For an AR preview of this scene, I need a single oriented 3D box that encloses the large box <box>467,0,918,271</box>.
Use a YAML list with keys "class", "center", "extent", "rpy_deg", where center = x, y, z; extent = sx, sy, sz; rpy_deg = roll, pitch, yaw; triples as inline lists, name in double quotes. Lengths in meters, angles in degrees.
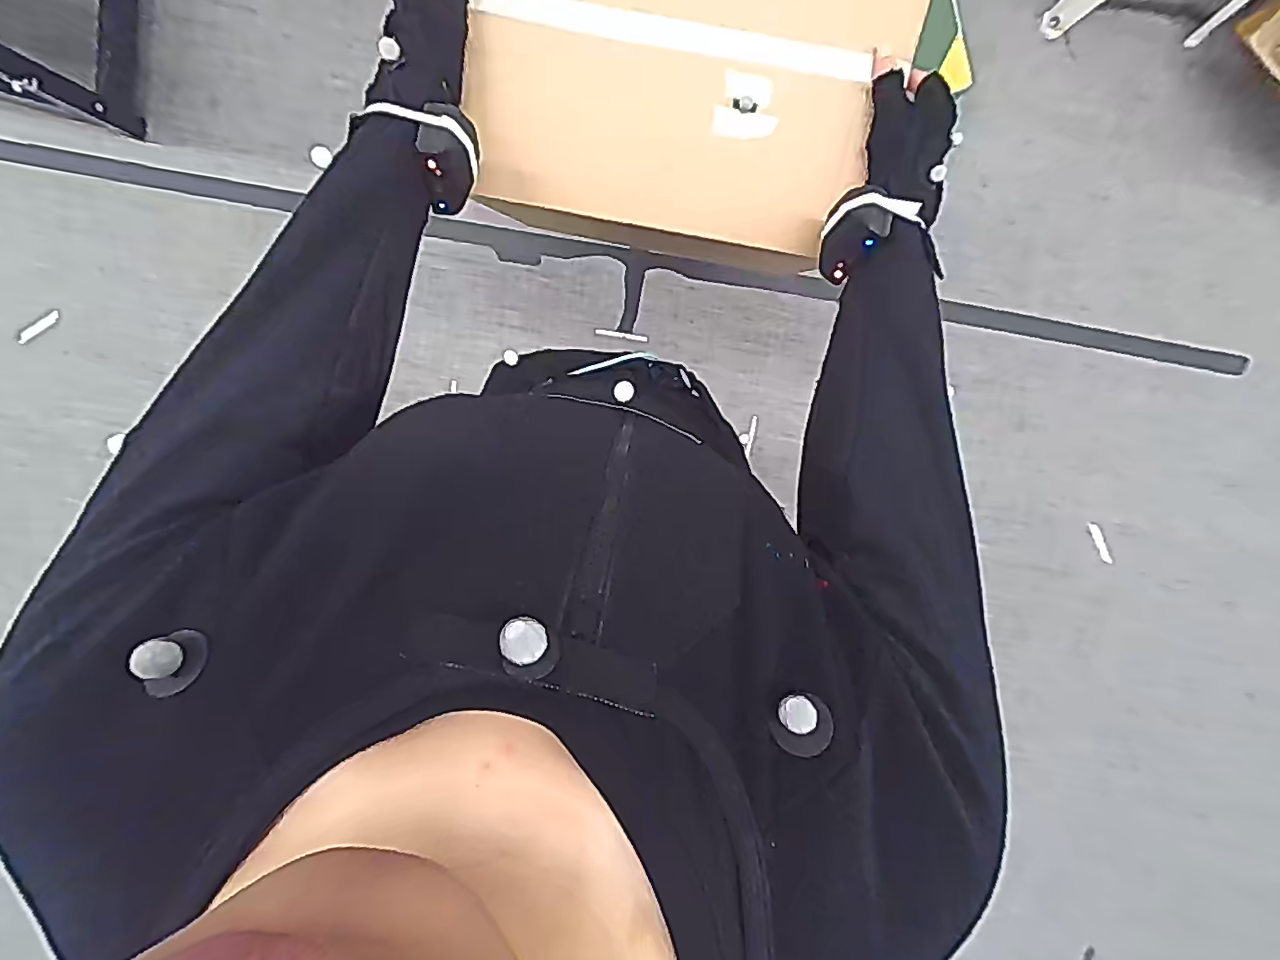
- class: "large box"
  center: [0.045, -0.446, 0.640]
  extent: [0.408, 0.320, 0.320]
  rpy_deg: [10, 110, -2]
